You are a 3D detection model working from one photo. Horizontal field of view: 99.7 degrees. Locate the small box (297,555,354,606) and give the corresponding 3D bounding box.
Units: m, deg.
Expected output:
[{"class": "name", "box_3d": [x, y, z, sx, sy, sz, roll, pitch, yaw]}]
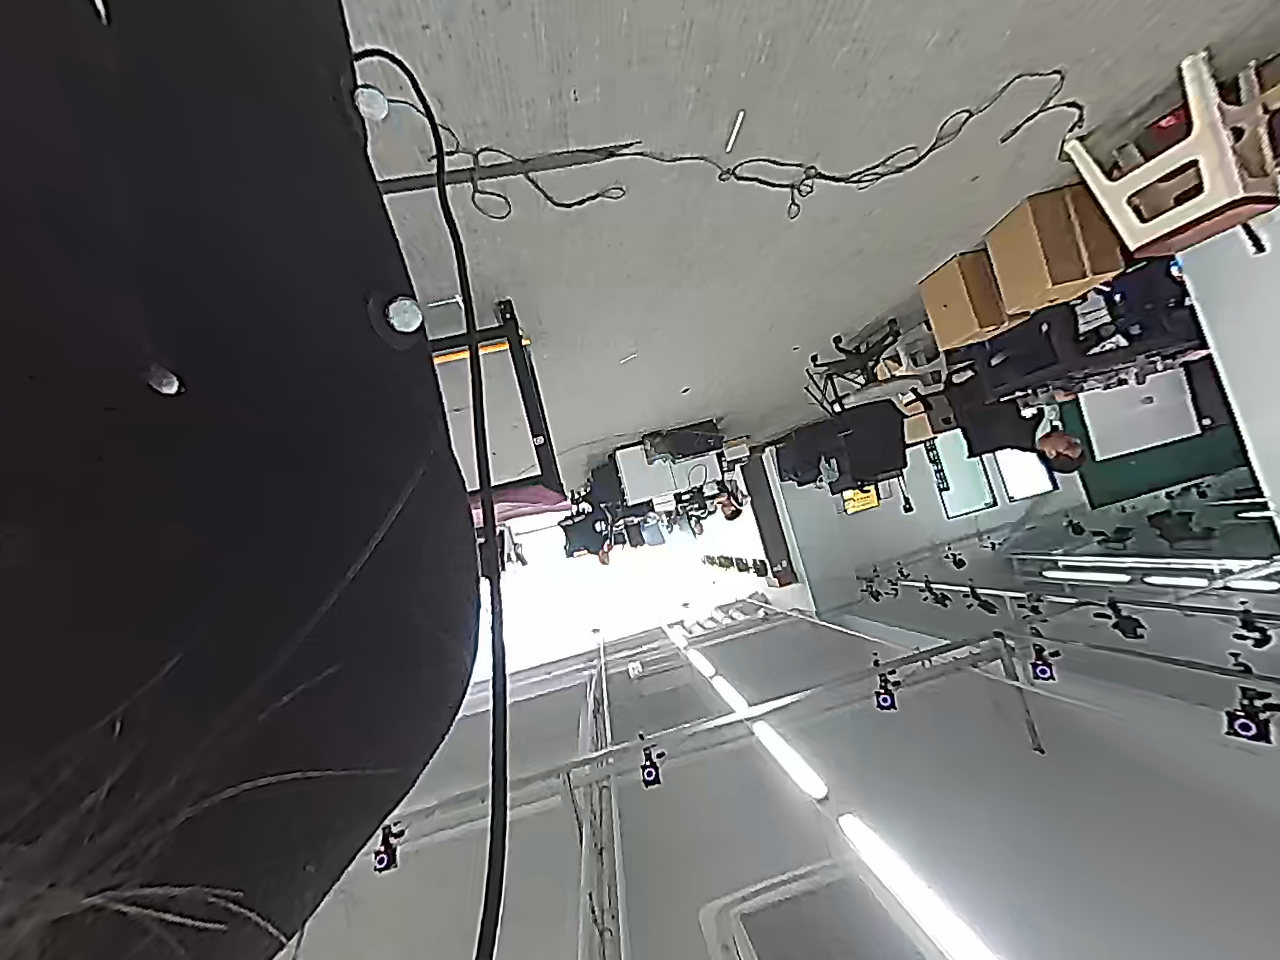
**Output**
[{"class": "small box", "box_3d": [-1.310, 0.411, 2.223, 0.179, 0.176, 0.168, -14, 173, -8]}]
